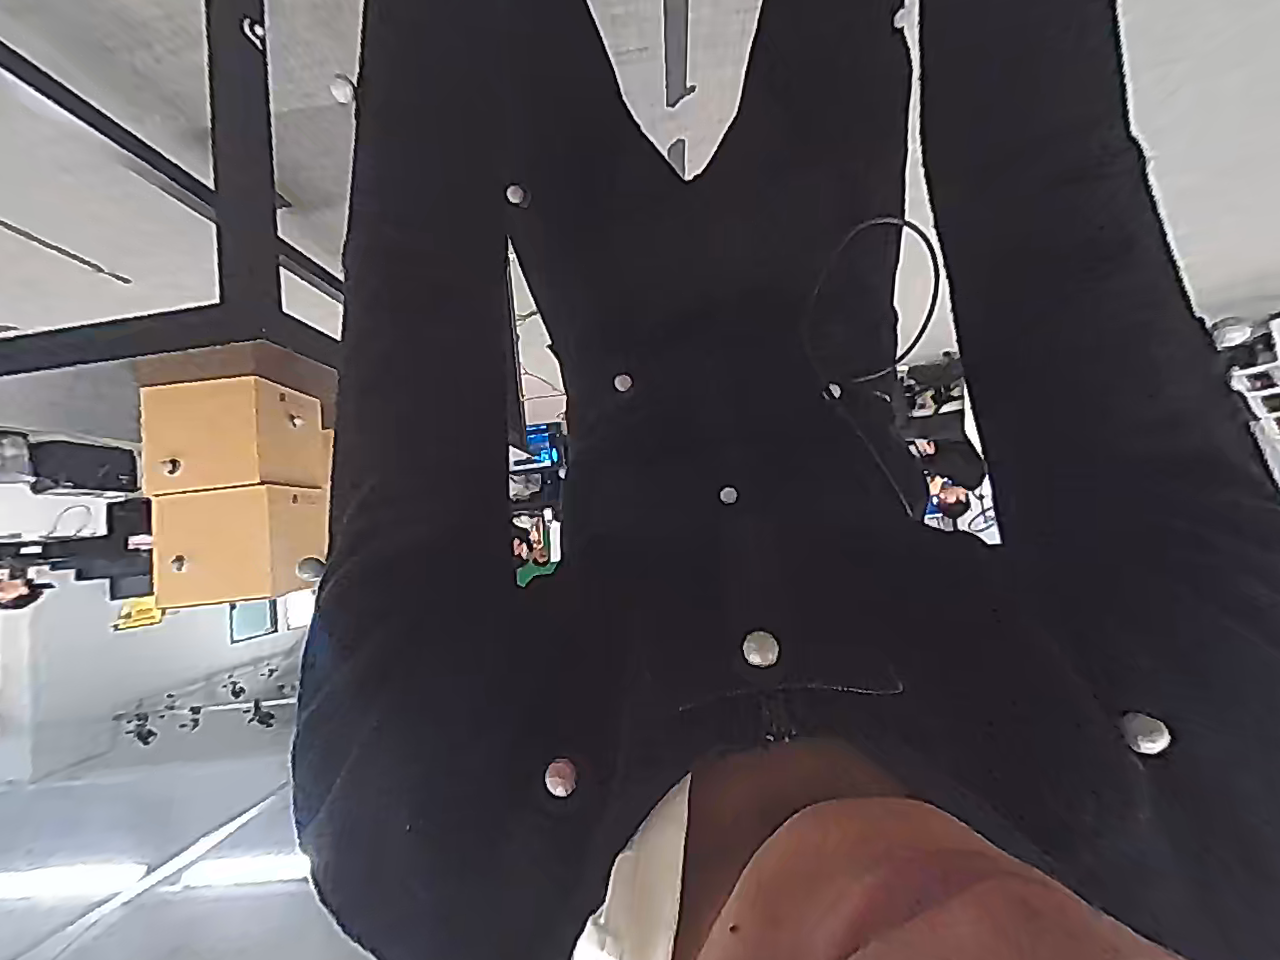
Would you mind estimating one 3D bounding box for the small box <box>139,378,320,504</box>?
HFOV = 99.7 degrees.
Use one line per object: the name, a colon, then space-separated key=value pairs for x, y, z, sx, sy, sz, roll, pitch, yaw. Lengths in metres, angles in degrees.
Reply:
small box: x=-0.648 y=-0.056 z=0.870 sx=0.179 sy=0.176 sz=0.168 roll=-6 pitch=176 yaw=0
